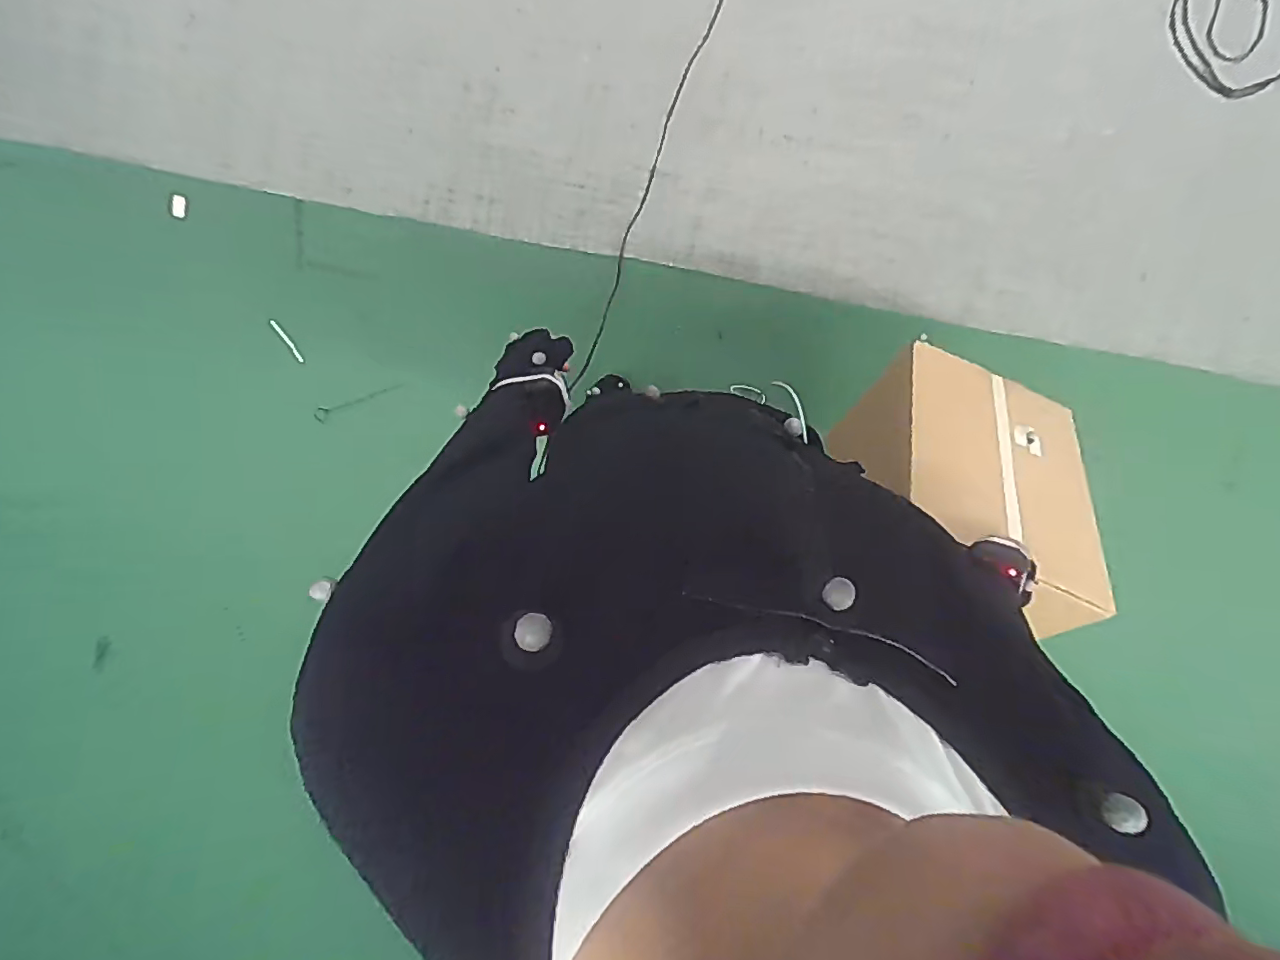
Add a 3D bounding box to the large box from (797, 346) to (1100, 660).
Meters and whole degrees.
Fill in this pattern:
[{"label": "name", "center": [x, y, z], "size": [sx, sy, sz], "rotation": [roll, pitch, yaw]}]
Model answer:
[{"label": "large box", "center": [0.511, 0.047, 0.971], "size": [0.320, 0.408, 0.320], "rotation": [25, 143, -3]}]
